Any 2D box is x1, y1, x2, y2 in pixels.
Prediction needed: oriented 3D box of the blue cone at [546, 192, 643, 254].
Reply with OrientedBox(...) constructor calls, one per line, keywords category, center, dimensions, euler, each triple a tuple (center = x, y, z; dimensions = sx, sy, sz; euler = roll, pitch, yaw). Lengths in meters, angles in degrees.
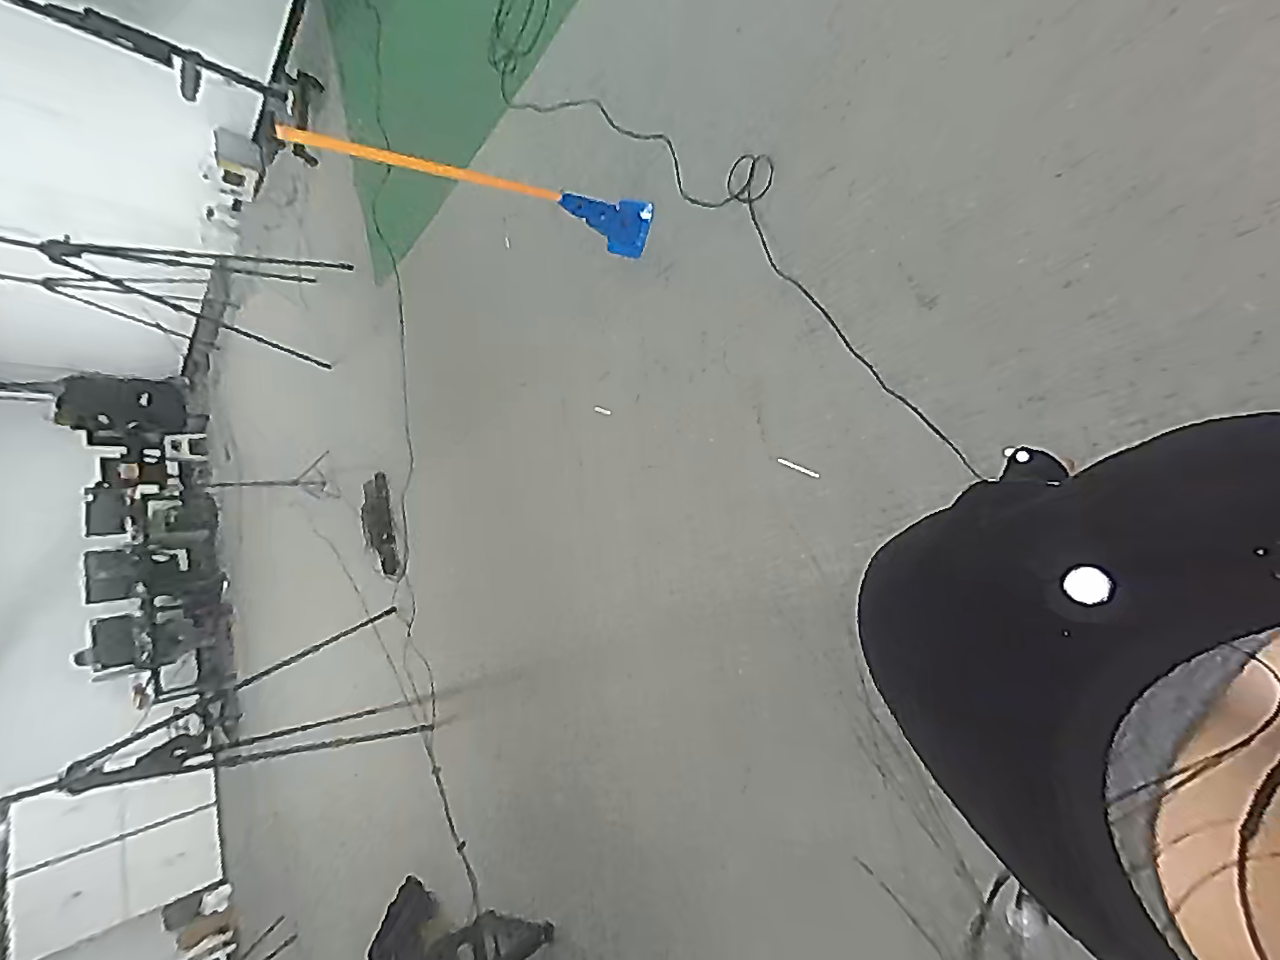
OrientedBox(category="blue cone", center=(-0.177, -0.960, 1.947), dimensions=(0.192, 0.380, 0.193), euler=(29, 112, 36))
